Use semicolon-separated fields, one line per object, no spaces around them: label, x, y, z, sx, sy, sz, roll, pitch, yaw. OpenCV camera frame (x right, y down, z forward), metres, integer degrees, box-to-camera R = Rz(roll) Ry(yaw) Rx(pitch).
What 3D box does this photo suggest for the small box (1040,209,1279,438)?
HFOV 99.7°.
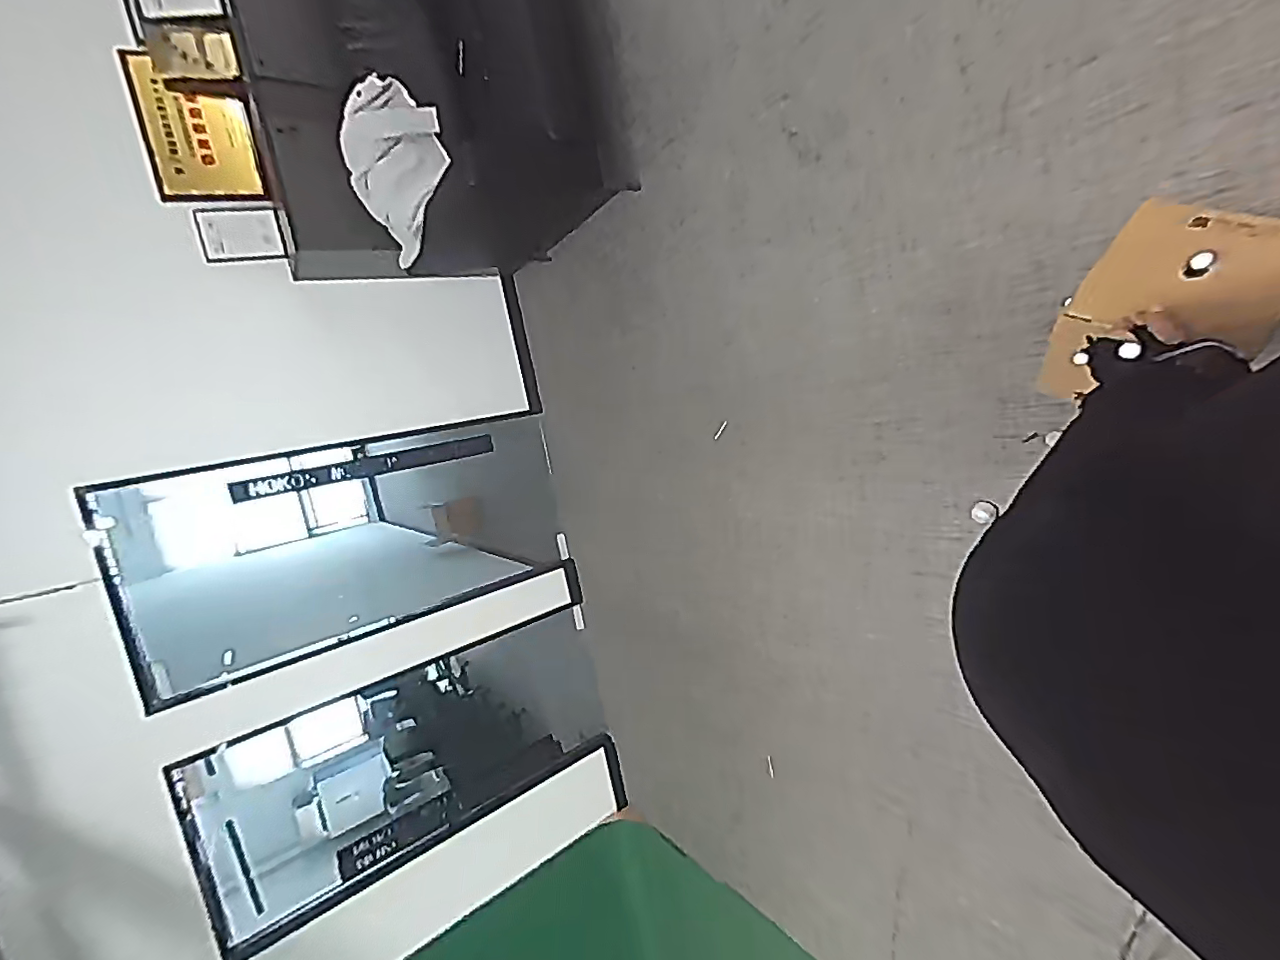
small box;0.622;-0.186;0.641;0.168;0.176;0.179;34;175;35
